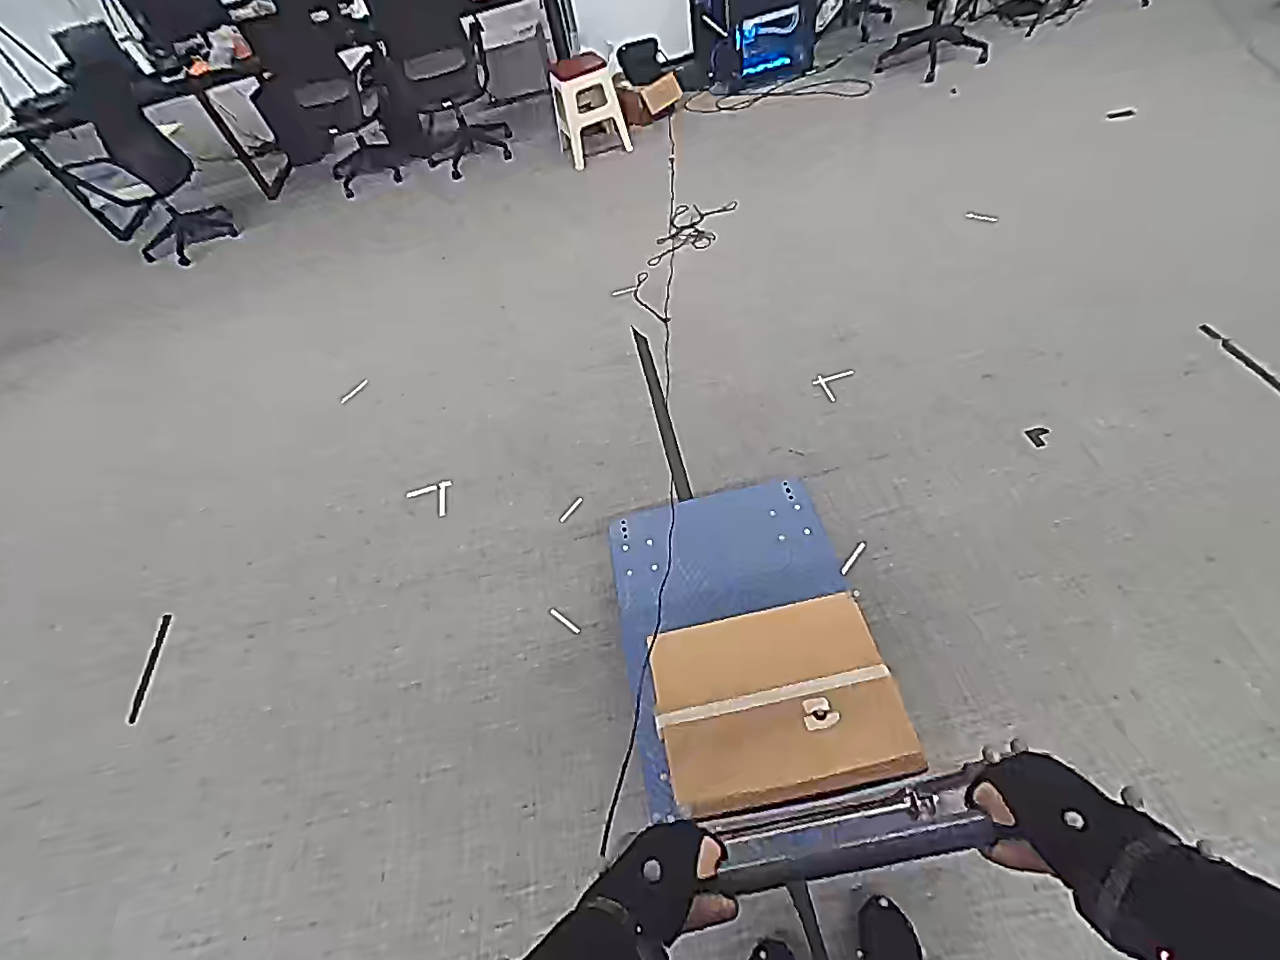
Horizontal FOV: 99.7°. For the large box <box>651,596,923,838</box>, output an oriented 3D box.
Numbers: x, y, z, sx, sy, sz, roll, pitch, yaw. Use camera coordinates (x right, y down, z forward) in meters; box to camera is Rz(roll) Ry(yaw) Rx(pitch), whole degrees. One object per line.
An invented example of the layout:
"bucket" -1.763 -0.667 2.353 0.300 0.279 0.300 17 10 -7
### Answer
"large box" 0.262 0.479 1.076 0.408 0.320 0.320 -13 52 2
